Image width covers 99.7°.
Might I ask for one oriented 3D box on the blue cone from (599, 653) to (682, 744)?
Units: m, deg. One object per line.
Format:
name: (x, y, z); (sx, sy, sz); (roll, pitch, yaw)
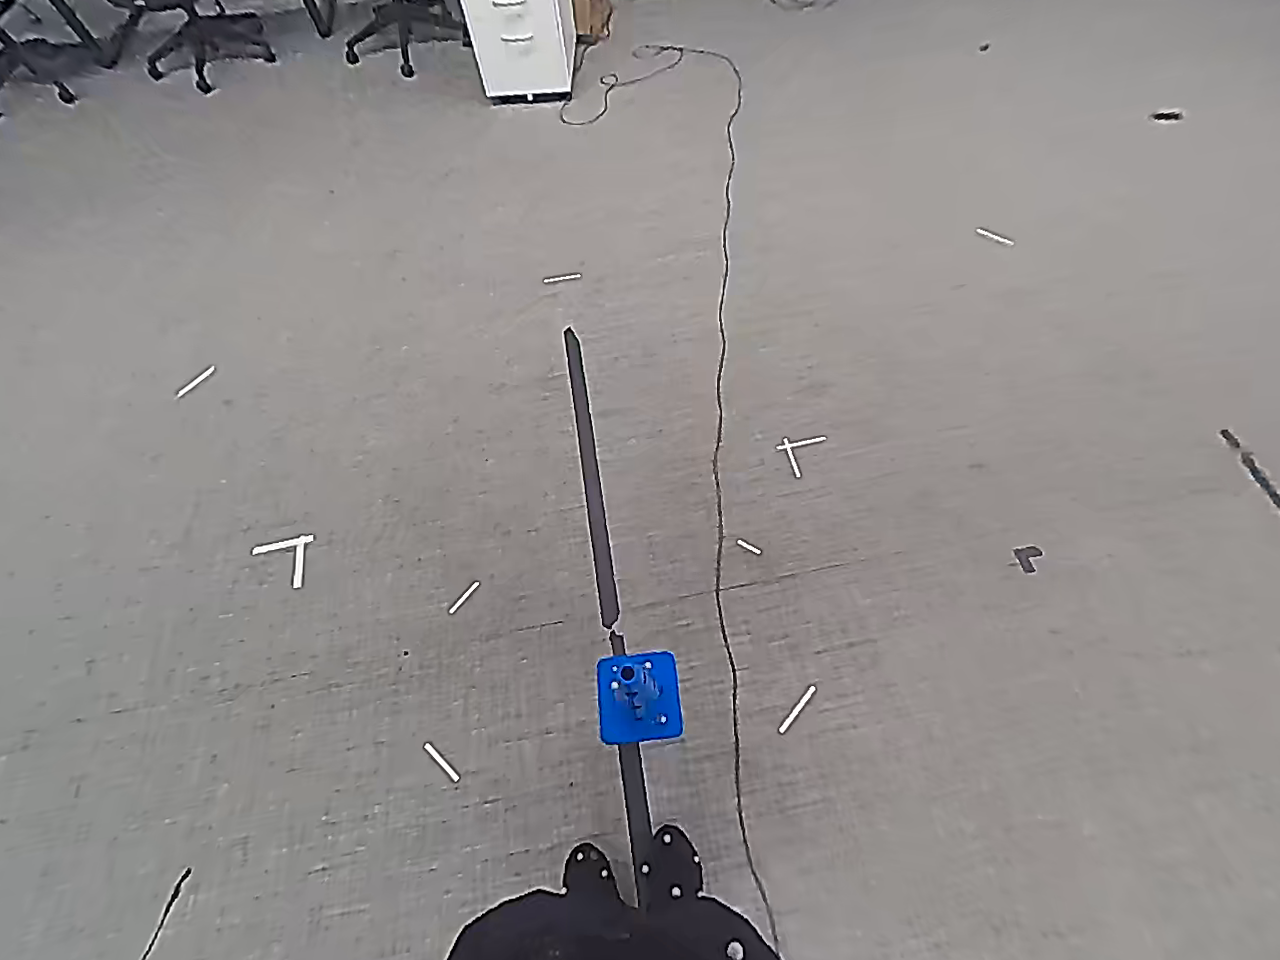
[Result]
blue cone: (-0.010, 0.444, 1.158); (0.193, 0.380, 0.192); (-7, 61, -1)
